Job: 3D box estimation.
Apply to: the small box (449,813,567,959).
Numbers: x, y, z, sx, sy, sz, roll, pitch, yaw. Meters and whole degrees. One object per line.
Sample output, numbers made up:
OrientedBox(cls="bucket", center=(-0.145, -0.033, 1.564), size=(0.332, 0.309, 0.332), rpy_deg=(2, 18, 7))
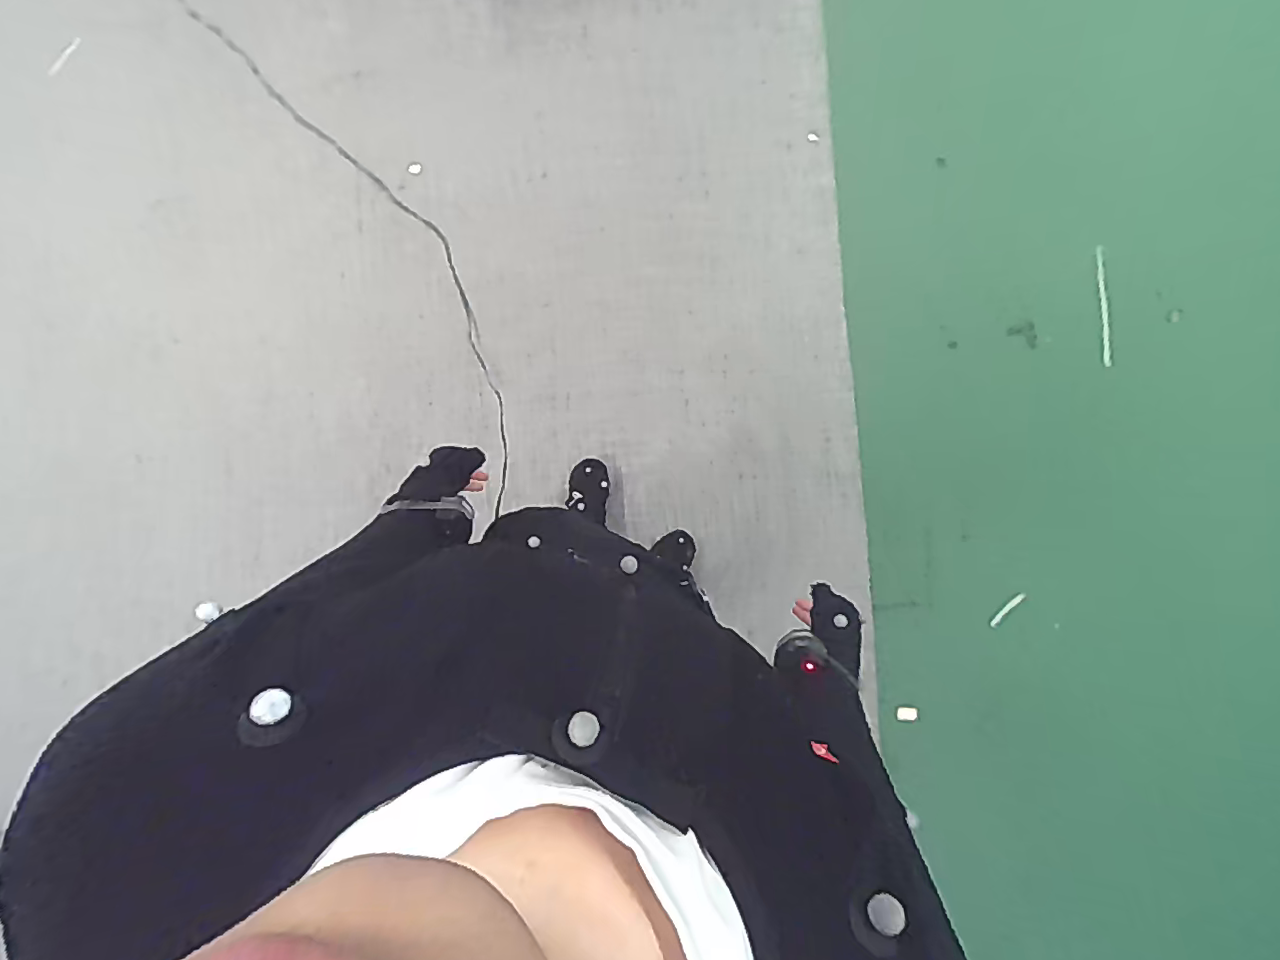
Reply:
OrientedBox(cls="small box", center=(-0.231, 0.734, 0.969), size=(0.168, 0.176, 0.179), rpy_deg=(2, 90, 6))
